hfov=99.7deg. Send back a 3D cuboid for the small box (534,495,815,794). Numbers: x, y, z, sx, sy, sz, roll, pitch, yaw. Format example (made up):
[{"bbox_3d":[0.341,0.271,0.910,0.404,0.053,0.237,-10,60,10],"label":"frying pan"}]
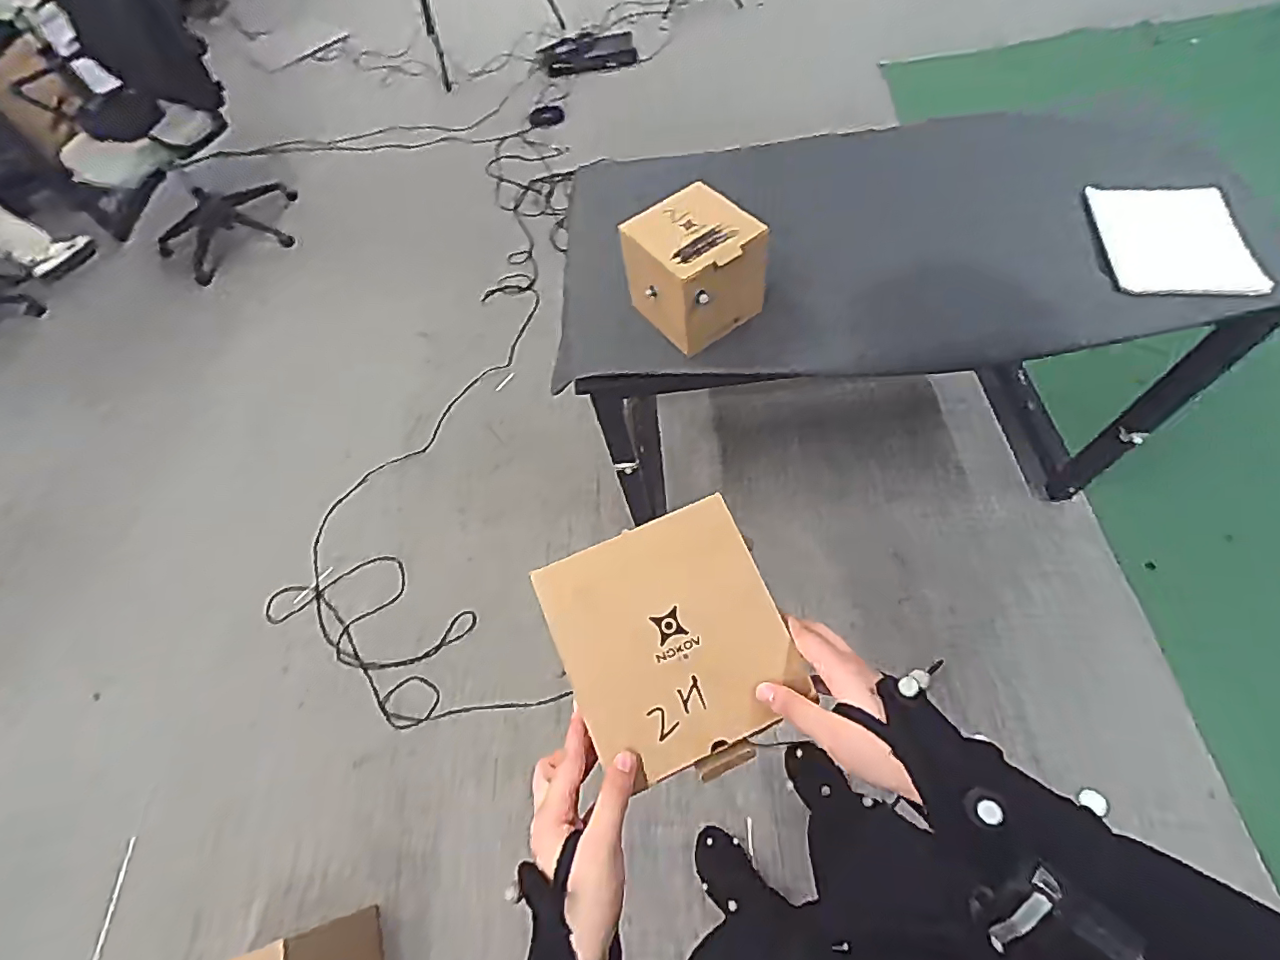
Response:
[{"bbox_3d":[0.021,0.138,0.488,0.168,0.176,0.179,-24,77,-6],"label":"small box"}]
